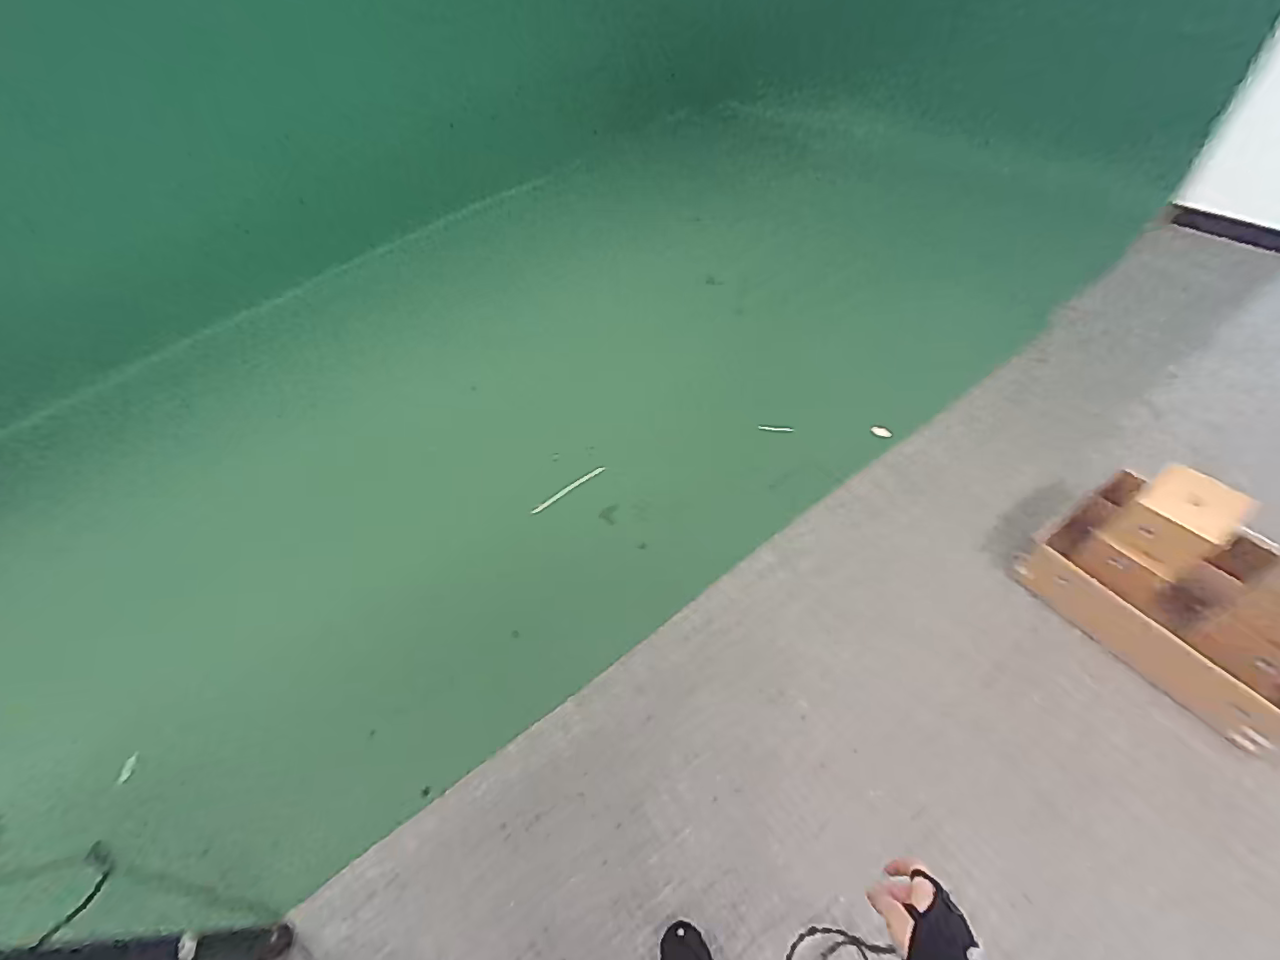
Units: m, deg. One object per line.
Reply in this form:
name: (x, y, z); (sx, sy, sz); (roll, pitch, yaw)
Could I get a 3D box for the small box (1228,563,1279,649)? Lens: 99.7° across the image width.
small box: (1.431, 0.262, 1.148); (0.179, 0.176, 0.168); (-31, 54, -12)

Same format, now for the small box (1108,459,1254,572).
small box: (1.292, 0.090, 1.309); (0.179, 0.176, 0.168); (-36, 55, -16)

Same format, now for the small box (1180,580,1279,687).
small box: (1.458, 0.363, 1.272); (0.168, 0.176, 0.179); (-30, 52, -12)
